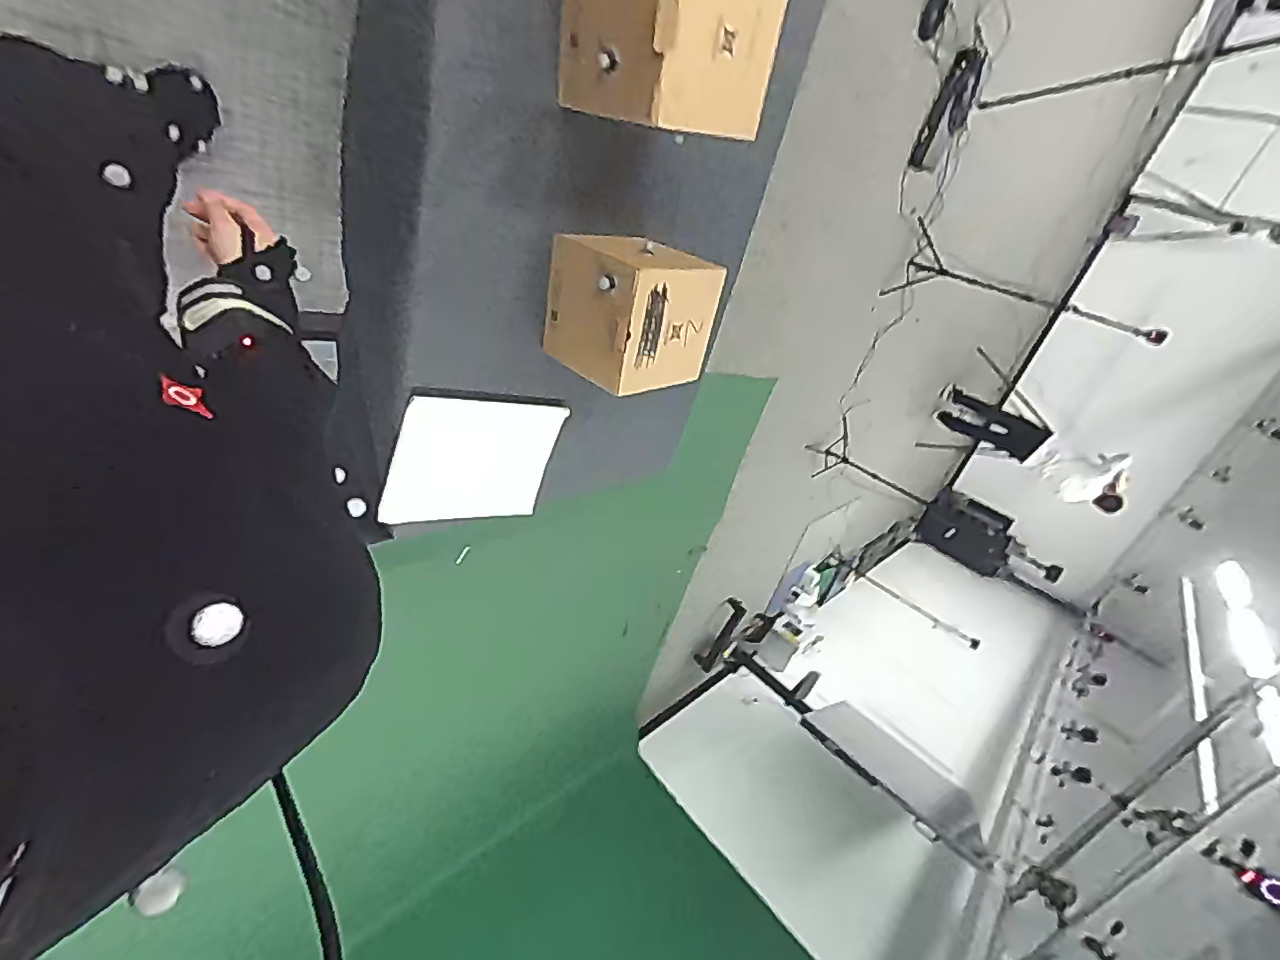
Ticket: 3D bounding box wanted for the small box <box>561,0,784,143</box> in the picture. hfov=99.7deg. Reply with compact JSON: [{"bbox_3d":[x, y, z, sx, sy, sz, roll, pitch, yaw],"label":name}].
[{"bbox_3d":[0.030,-0.488,0.598,0.179,0.176,0.168,-25,139,-39],"label":"small box"}]
